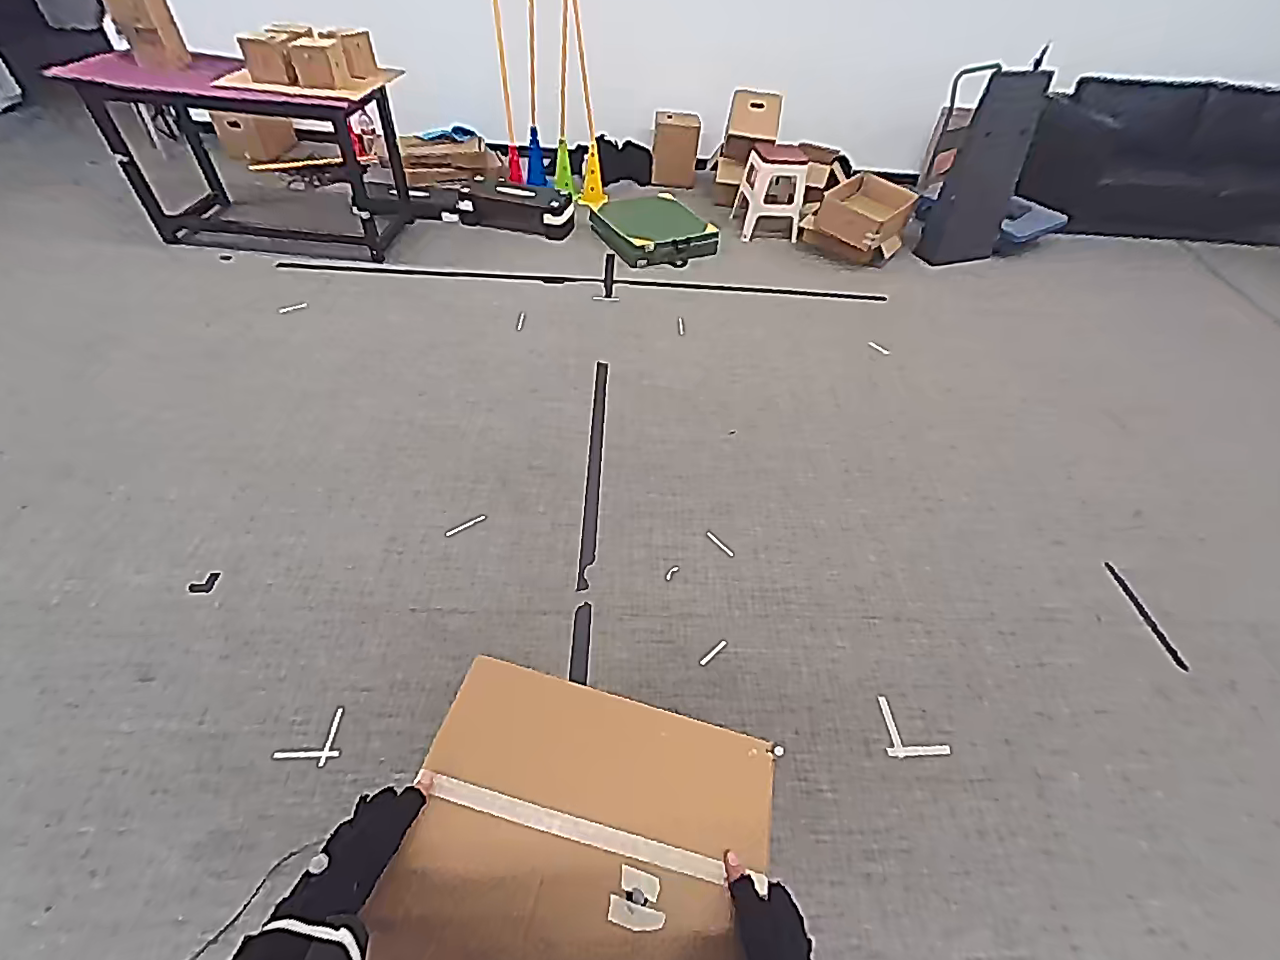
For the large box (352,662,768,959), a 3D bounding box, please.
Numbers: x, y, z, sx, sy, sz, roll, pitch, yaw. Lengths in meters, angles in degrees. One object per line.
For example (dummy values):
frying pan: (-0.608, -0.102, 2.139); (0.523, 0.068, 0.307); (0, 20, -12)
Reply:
large box: (-0.080, 0.499, 0.716); (0.408, 0.320, 0.320); (16, 46, 3)
